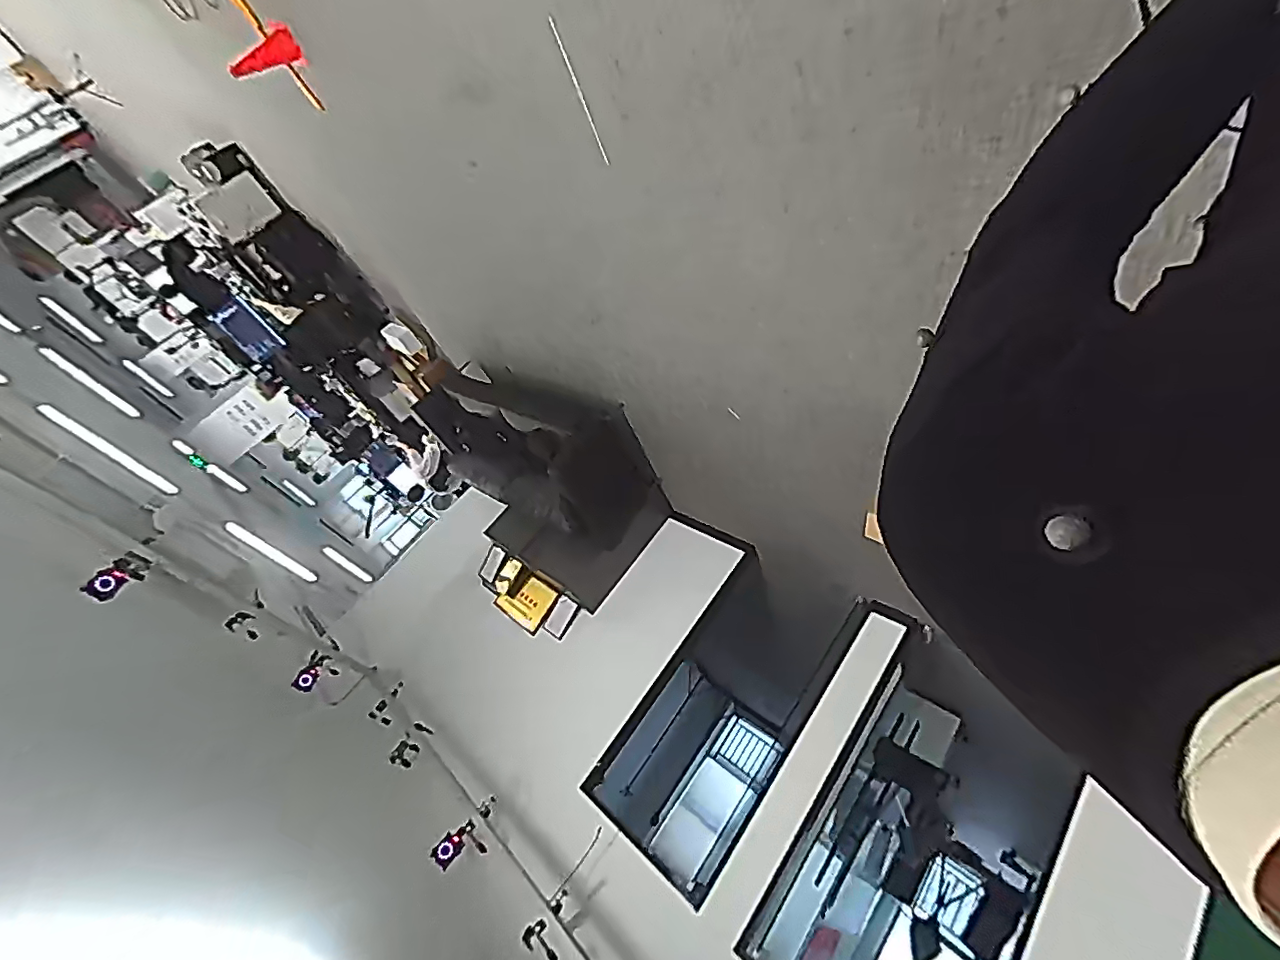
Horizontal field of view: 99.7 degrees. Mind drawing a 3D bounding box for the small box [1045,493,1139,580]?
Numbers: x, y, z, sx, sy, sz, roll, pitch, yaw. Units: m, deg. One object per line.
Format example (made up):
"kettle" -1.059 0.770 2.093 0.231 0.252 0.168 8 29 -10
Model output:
"small box" 1.396 0.168 1.668 0.168 0.176 0.179 26 154 35
